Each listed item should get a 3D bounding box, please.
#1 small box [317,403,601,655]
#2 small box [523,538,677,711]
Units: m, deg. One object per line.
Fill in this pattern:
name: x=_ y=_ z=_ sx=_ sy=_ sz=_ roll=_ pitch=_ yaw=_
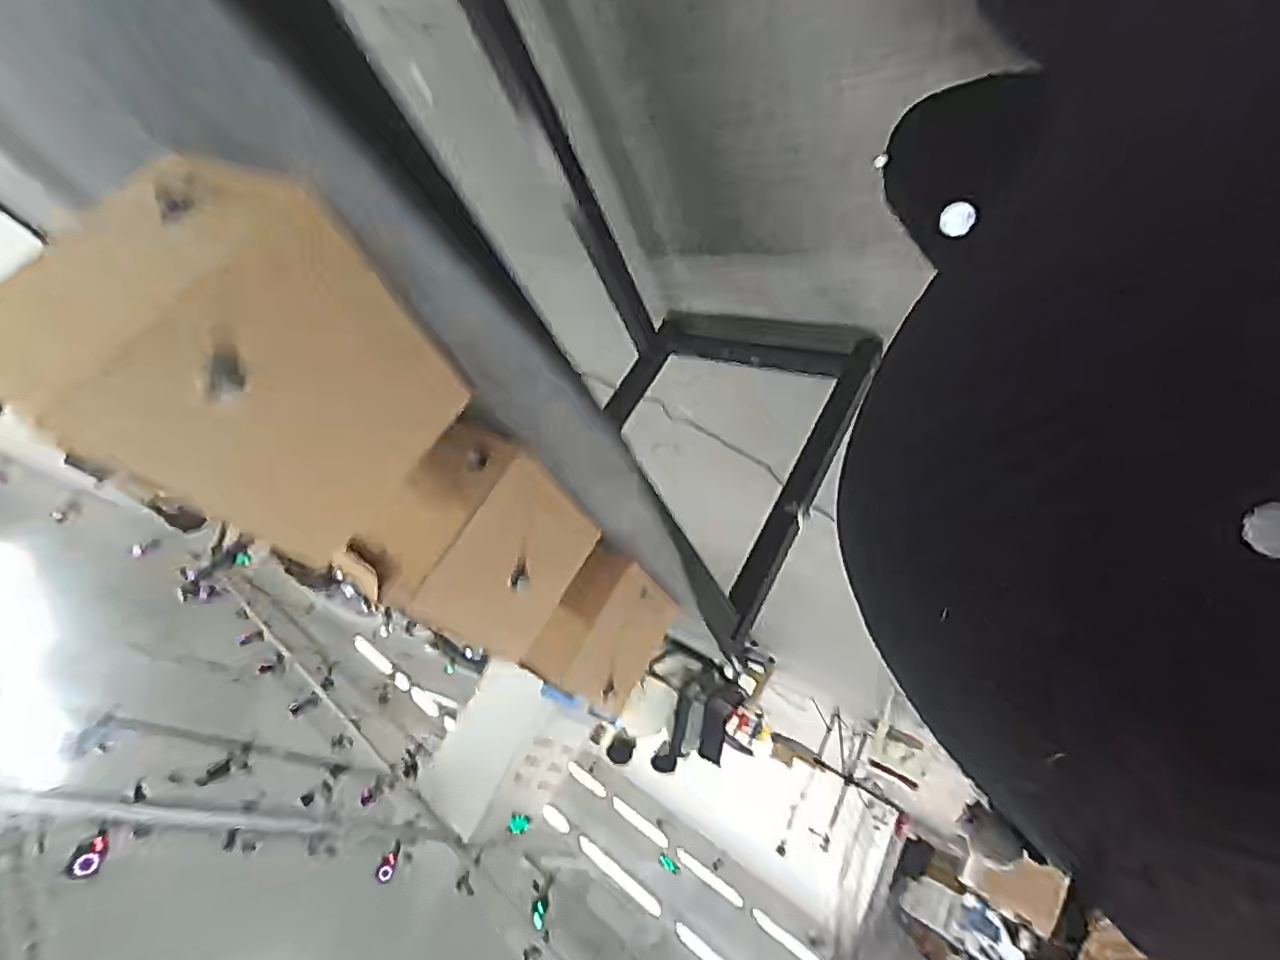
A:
small box: x=-0.171 y=0.046 z=0.554 sx=0.168 sy=0.176 sz=0.179 roll=22 pitch=160 yaw=33
small box: x=-0.080 y=0.176 z=0.735 sx=0.179 sy=0.176 sz=0.168 roll=18 pitch=156 yaw=36
